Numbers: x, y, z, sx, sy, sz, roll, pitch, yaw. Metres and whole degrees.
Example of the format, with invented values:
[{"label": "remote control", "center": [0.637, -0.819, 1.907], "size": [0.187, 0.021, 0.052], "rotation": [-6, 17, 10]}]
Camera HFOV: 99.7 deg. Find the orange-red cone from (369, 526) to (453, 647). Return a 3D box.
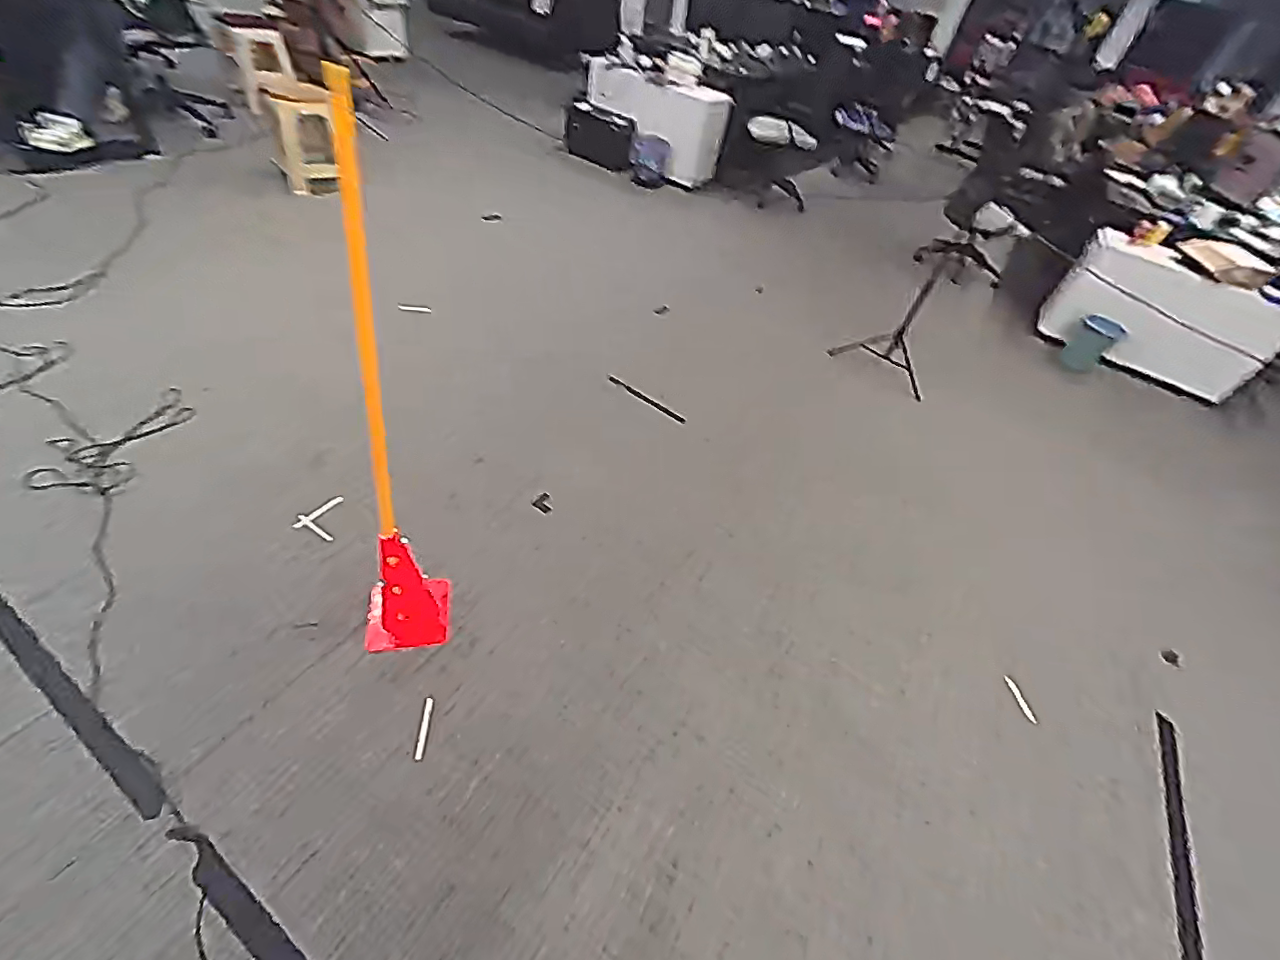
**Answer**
[{"label": "orange-red cone", "center": [-0.577, 0.235, 1.320], "size": [0.198, 0.360, 0.199], "rotation": [-1, 48, -14]}]
